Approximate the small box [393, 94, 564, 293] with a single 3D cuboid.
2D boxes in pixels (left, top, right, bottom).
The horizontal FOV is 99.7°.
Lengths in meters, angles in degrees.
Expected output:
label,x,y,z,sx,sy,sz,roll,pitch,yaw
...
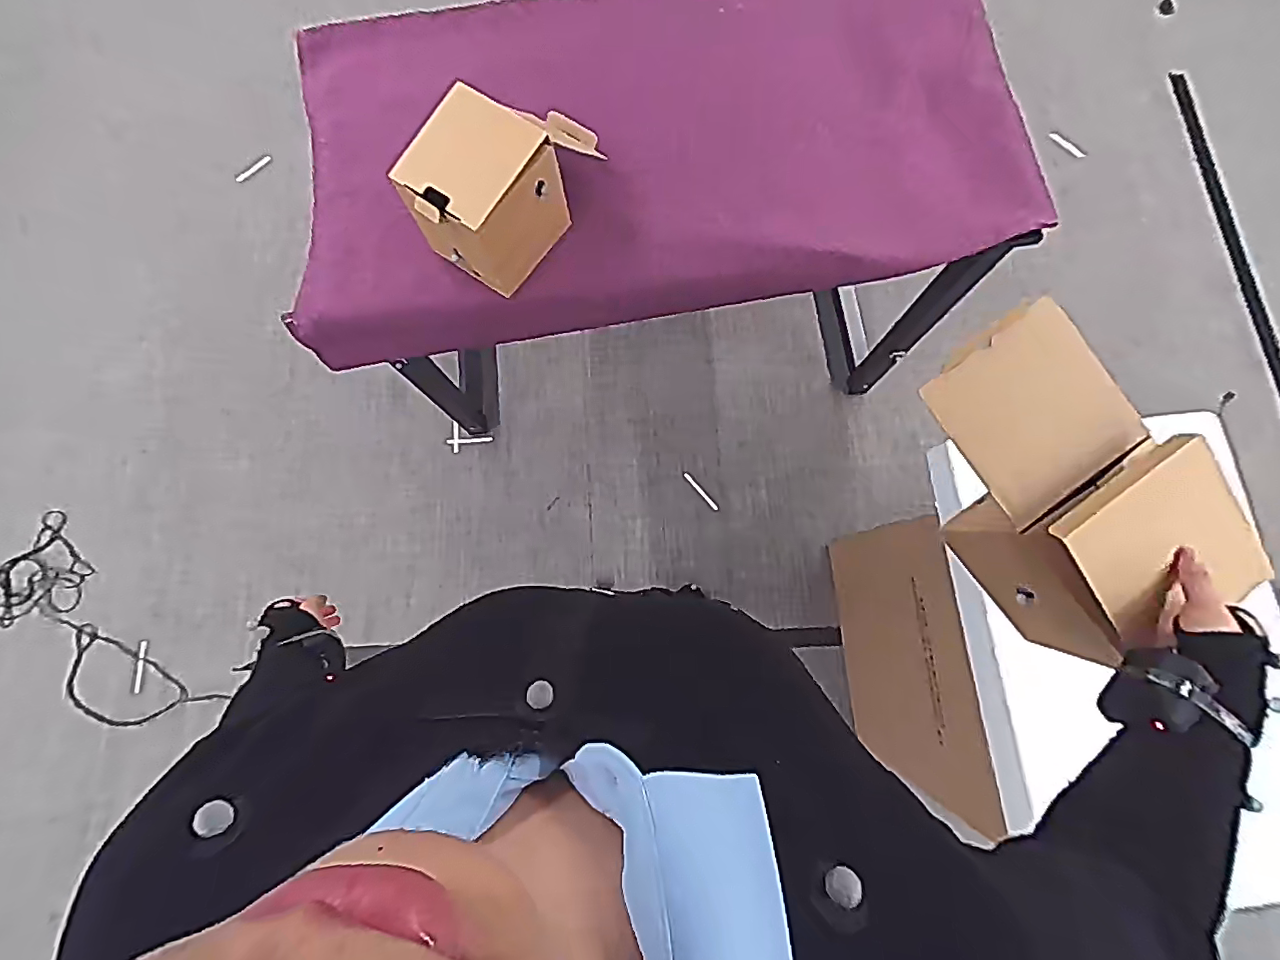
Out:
label,x,y,z,sx,sy,sz,roll,pitch,yaw
small box,-0.234,-0.433,0.840,0.168,0.176,0.179,35,80,10
